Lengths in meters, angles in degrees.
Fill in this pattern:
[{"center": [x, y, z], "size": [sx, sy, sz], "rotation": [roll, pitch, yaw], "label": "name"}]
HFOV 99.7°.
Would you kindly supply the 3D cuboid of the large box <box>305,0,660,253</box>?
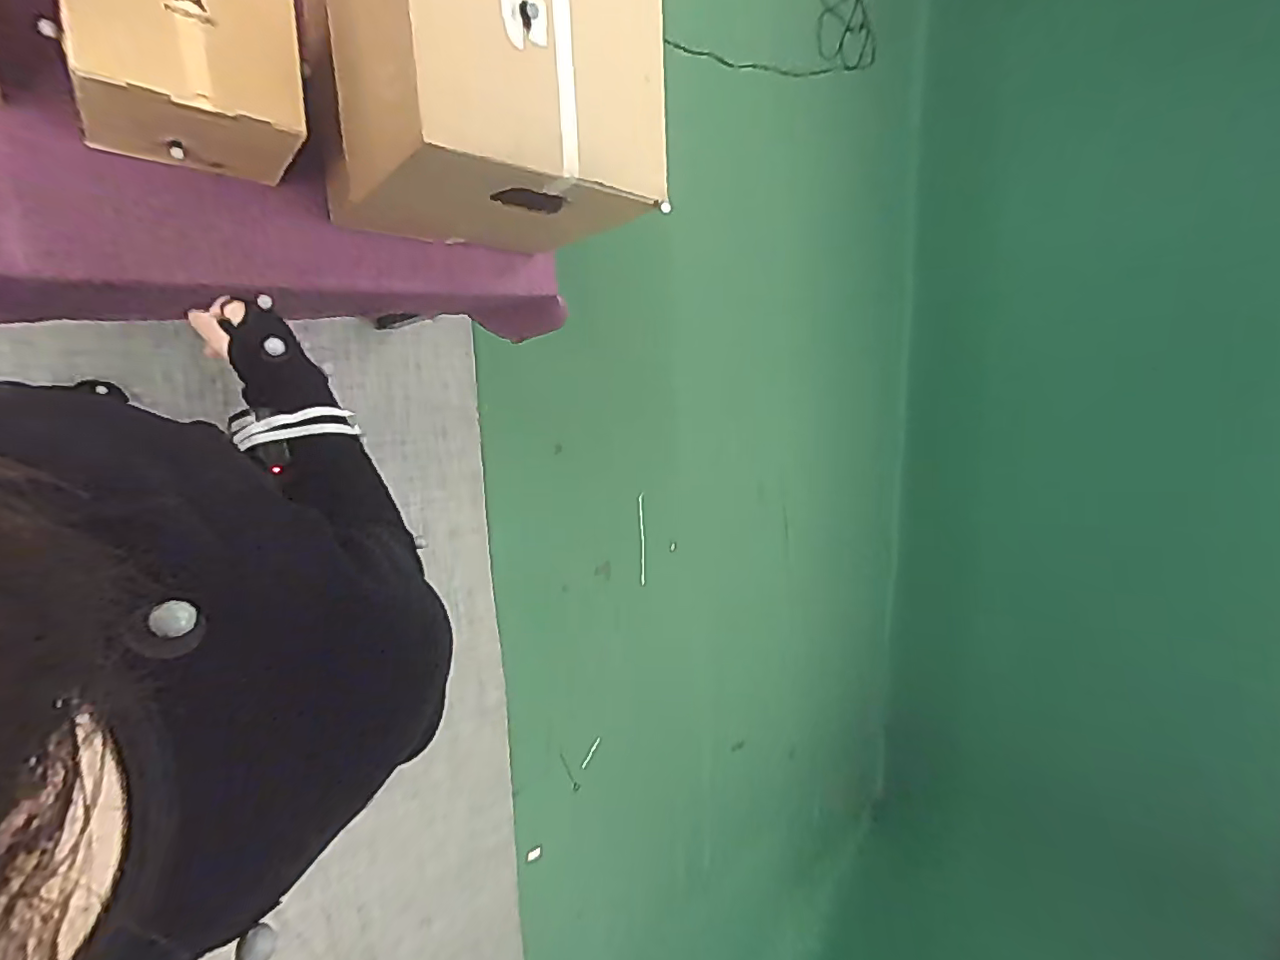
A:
[{"center": [-0.196, -0.537, 0.668], "size": [0.320, 0.320, 0.408], "rotation": [-12, 104, -42], "label": "large box"}]
